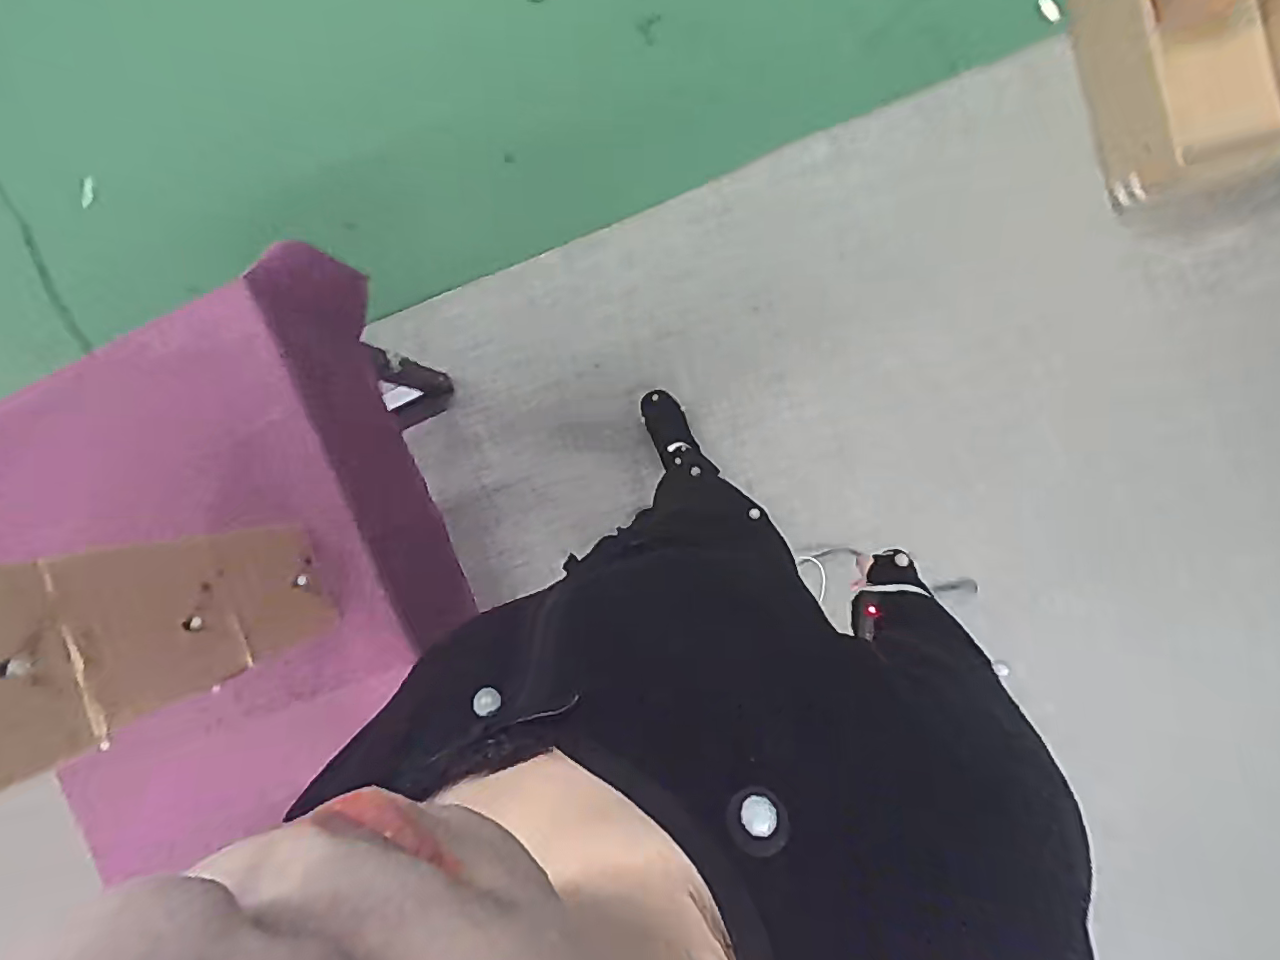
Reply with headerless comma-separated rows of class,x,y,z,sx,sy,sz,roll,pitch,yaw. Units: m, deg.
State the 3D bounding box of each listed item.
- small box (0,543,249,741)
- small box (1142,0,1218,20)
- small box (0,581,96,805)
small box,-0.565,0.177,0.558,0.179,0.176,0.168,-22,90,3
small box,1.300,-1.212,1.240,0.179,0.176,0.168,-11,92,4
small box,-0.574,0.183,0.394,0.168,0.176,0.179,-20,89,4
